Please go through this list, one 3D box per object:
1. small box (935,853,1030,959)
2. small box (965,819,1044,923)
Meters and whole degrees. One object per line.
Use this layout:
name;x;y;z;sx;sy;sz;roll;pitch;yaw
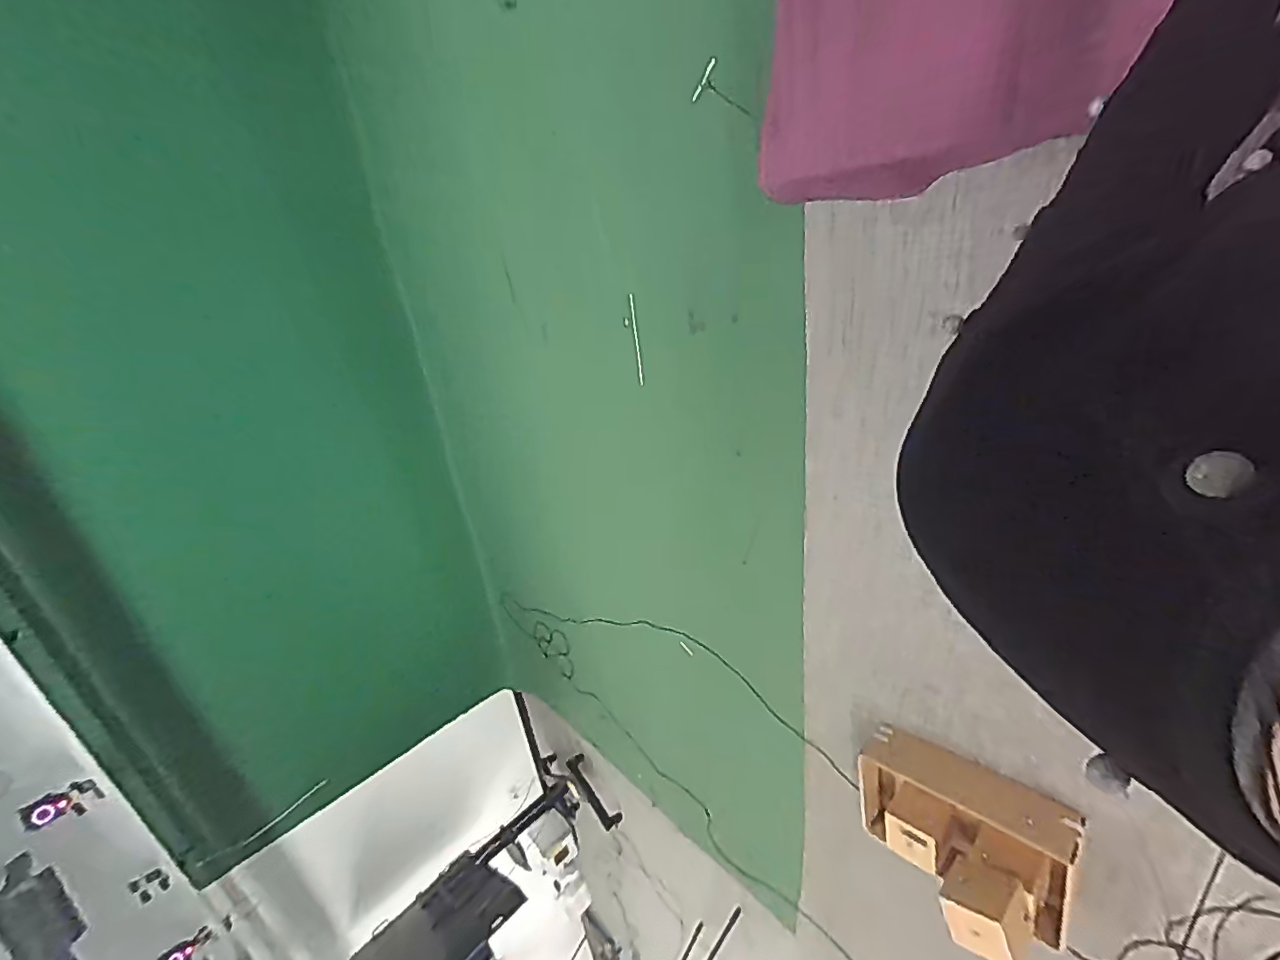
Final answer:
small box;1.028;1.271;1.623;0.179;0.176;0.168;-12;100;53
small box;1.155;1.231;1.718;0.179;0.176;0.168;13;119;48
